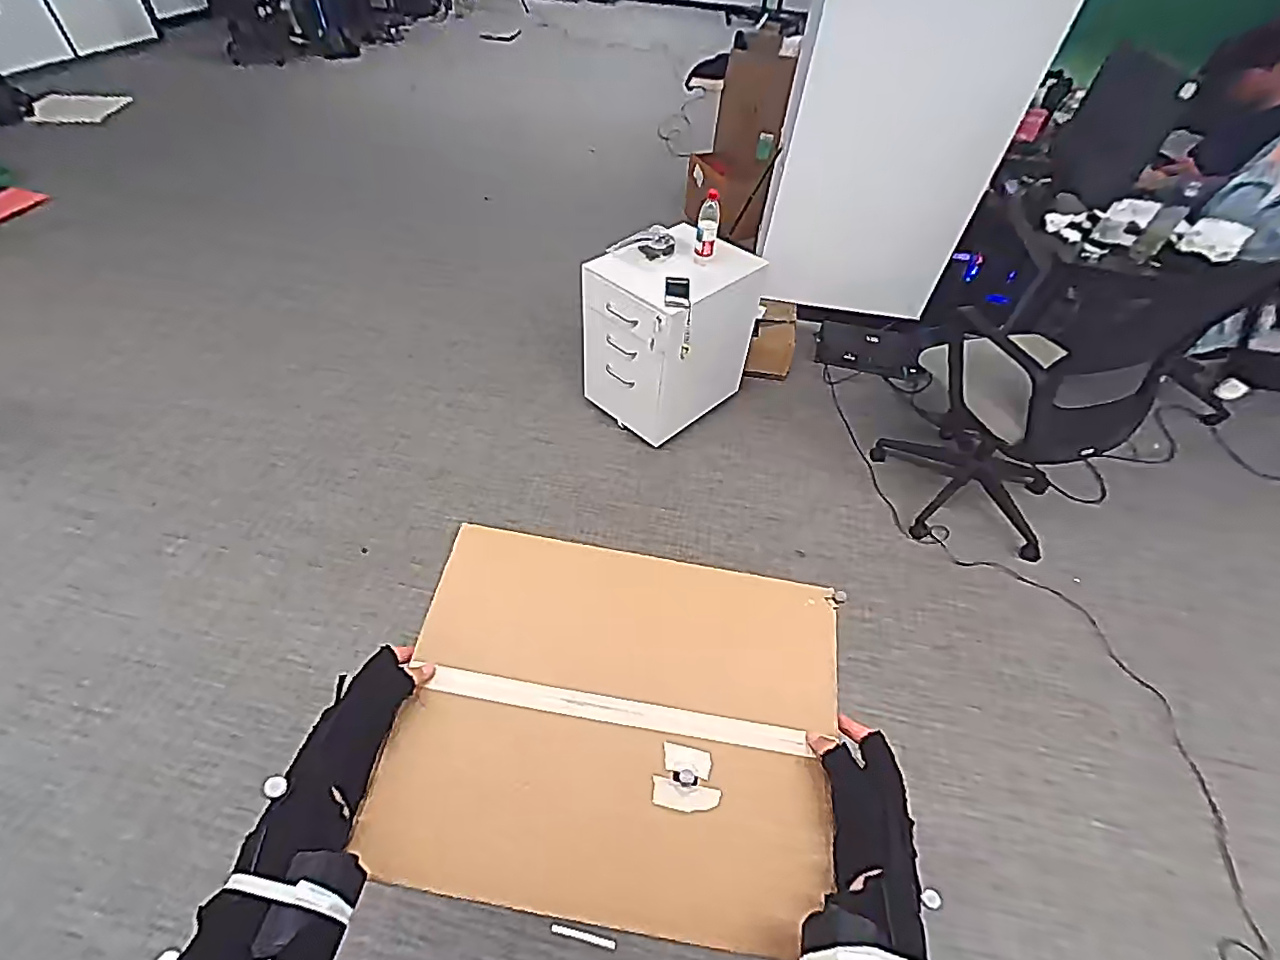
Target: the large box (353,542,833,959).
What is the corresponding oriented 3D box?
[{"bbox_3d":[-0.032,0.301,0.638,0.408,0.320,0.320,10,60,1],"label":"large box"}]
